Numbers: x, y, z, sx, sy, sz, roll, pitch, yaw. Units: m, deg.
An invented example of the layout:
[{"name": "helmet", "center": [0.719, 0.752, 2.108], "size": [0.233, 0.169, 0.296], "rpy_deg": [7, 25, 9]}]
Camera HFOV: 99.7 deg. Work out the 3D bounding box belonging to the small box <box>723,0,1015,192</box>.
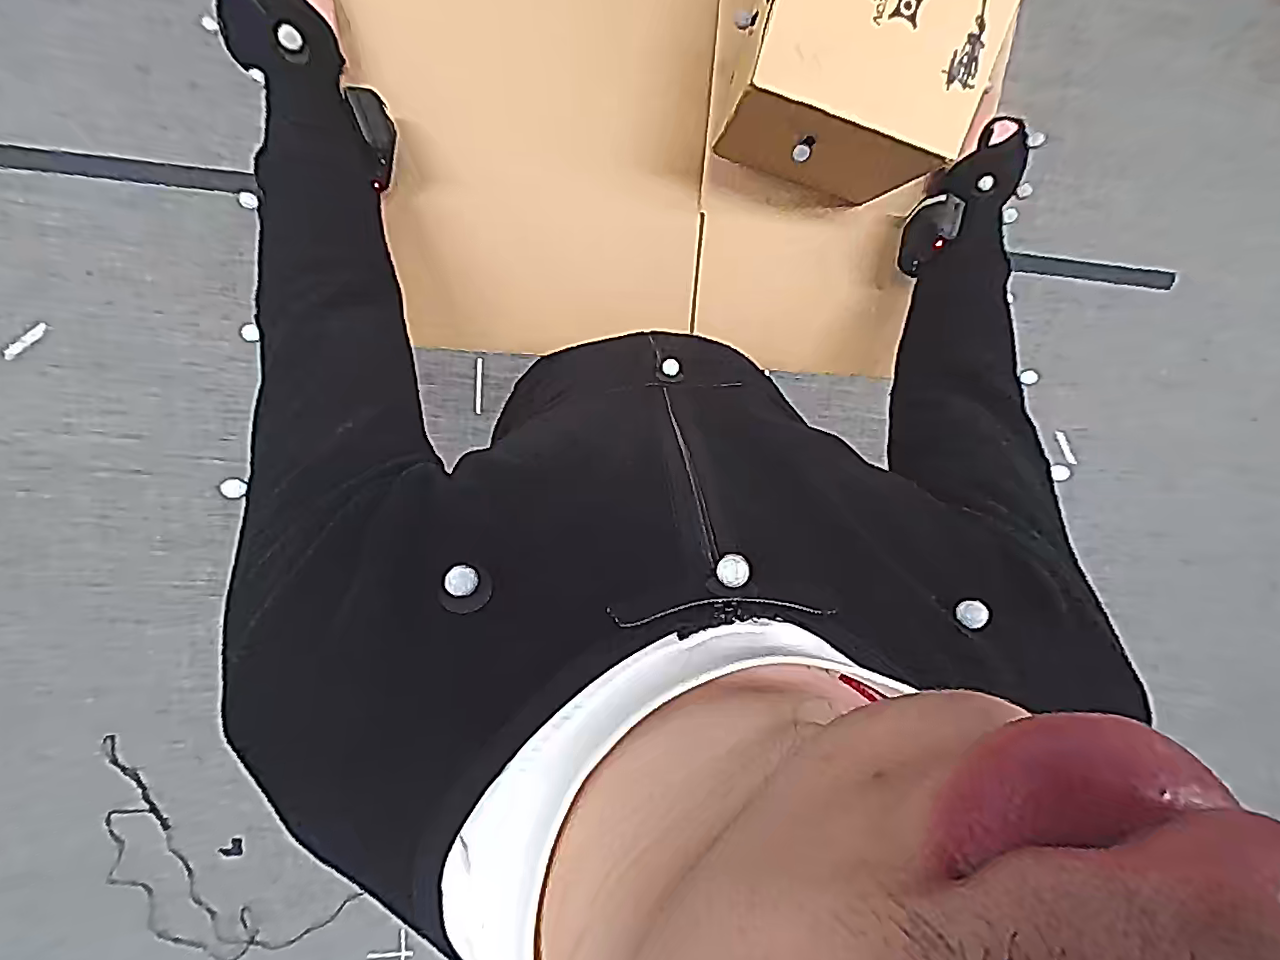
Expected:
[{"name": "small box", "center": [0.185, -0.376, 0.473], "size": [0.179, 0.176, 0.168], "rpy_deg": [16, 105, -6]}]
